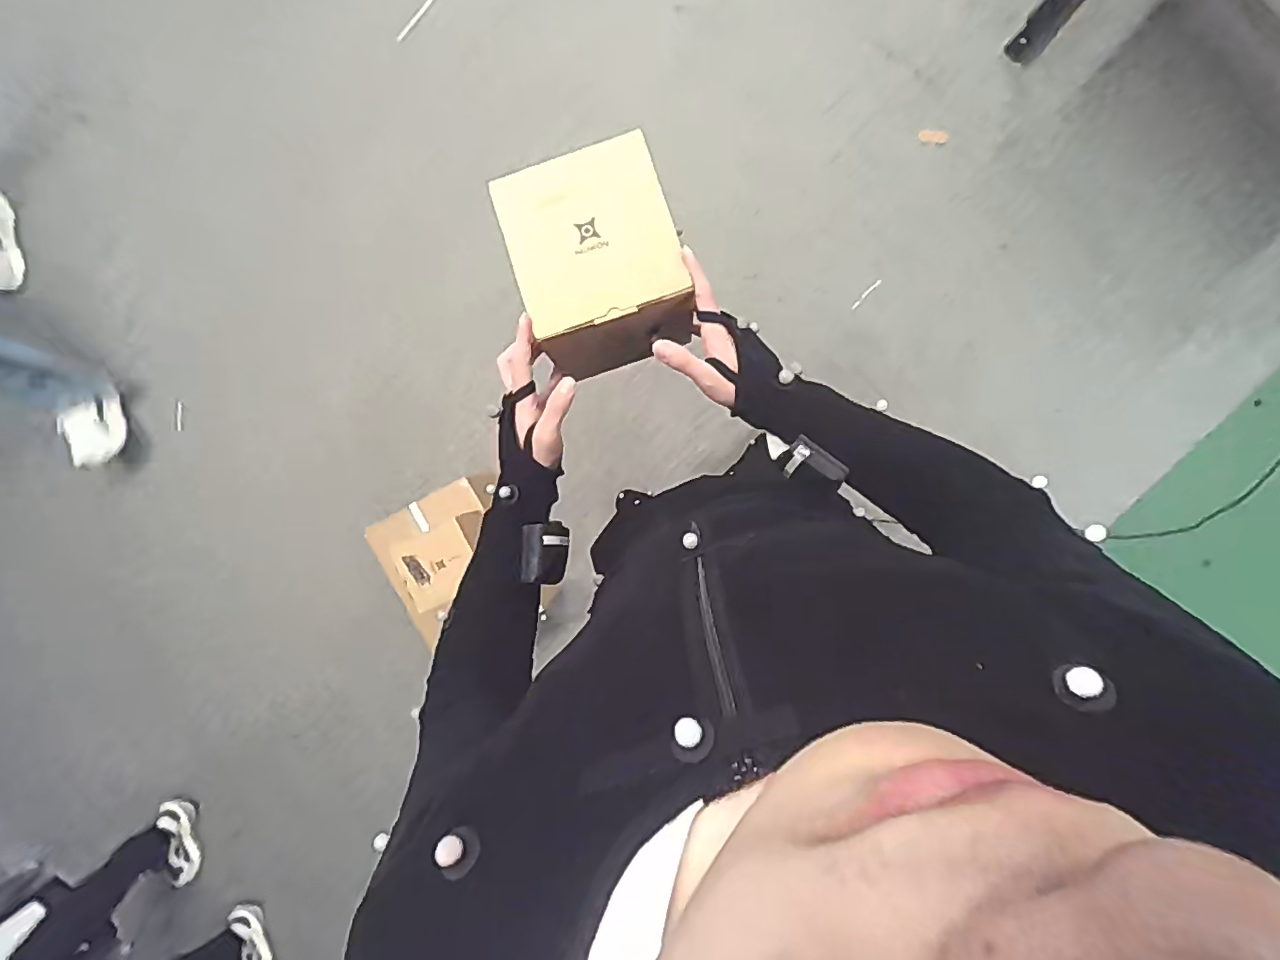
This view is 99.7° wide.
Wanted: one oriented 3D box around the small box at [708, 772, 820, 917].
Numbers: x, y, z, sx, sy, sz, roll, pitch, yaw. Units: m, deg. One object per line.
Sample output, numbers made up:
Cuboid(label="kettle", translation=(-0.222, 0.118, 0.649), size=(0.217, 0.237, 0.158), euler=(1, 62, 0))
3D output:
Cuboid(label="small box", translation=(0.247, 0.744, 1.126), size=(0.179, 0.176, 0.168), euler=(14, 95, 1))

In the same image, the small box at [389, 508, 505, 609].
Cuboid(label="small box", translation=(-0.448, 0.179, 1.284), size=(0.179, 0.176, 0.168), euler=(-27, 92, 2))

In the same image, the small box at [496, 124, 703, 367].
Cuboid(label="small box", translation=(-0.033, -0.242, 0.613), size=(0.168, 0.176, 0.179), euler=(-21, 87, 5))

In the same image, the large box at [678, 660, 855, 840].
Cuboid(label="large box", translation=(0.332, 0.741, 1.535), size=(0.408, 0.320, 0.320), euler=(10, 96, 1))
